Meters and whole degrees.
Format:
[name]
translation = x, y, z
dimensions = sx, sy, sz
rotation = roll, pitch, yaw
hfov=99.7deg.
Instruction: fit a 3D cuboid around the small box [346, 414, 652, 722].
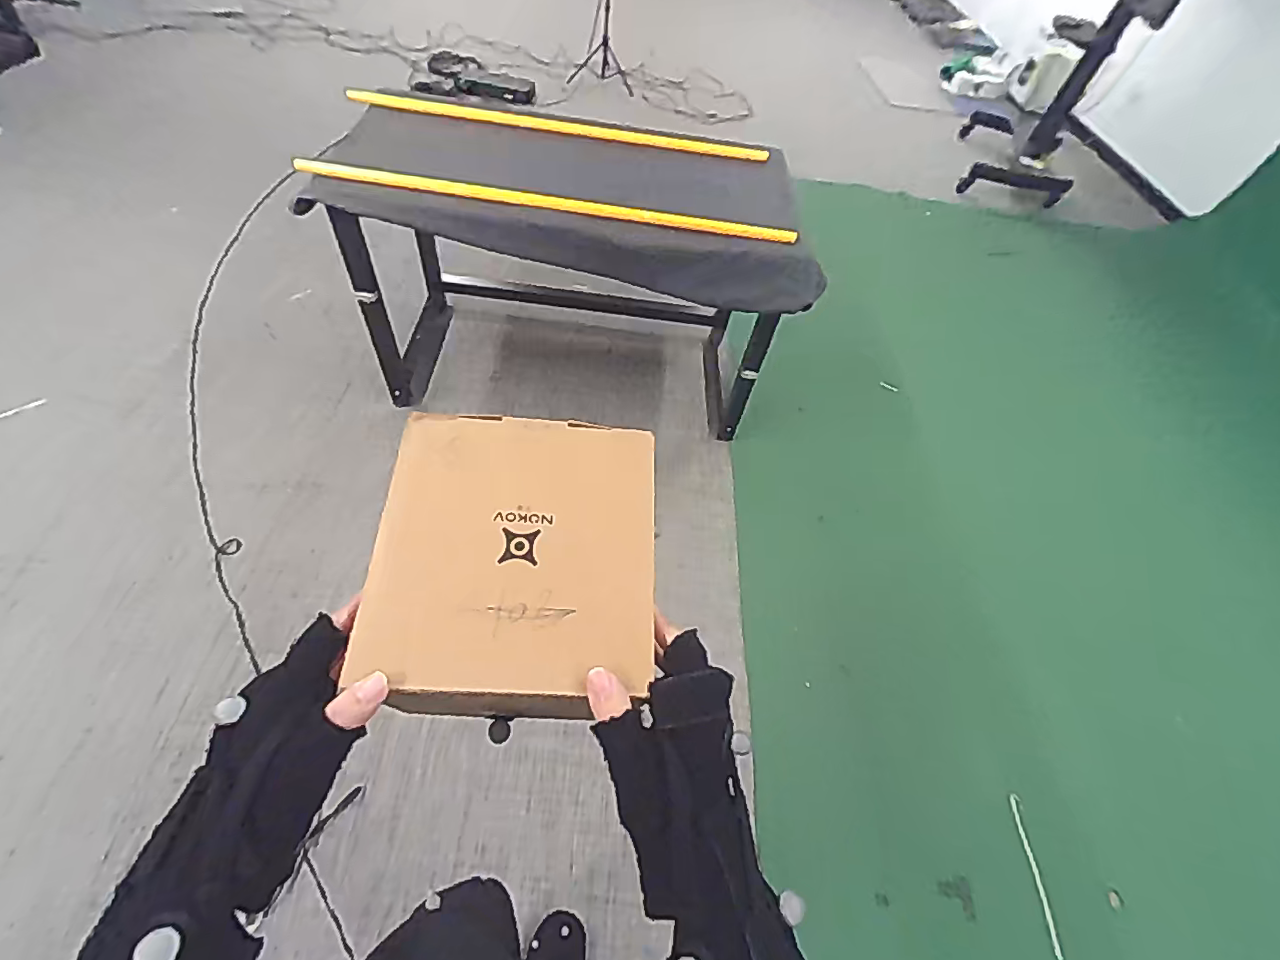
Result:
[small box]
translation = -0.084, 0.075, 0.402
dimensions = 0.168, 0.176, 0.179
rotation = 4, 62, -6
